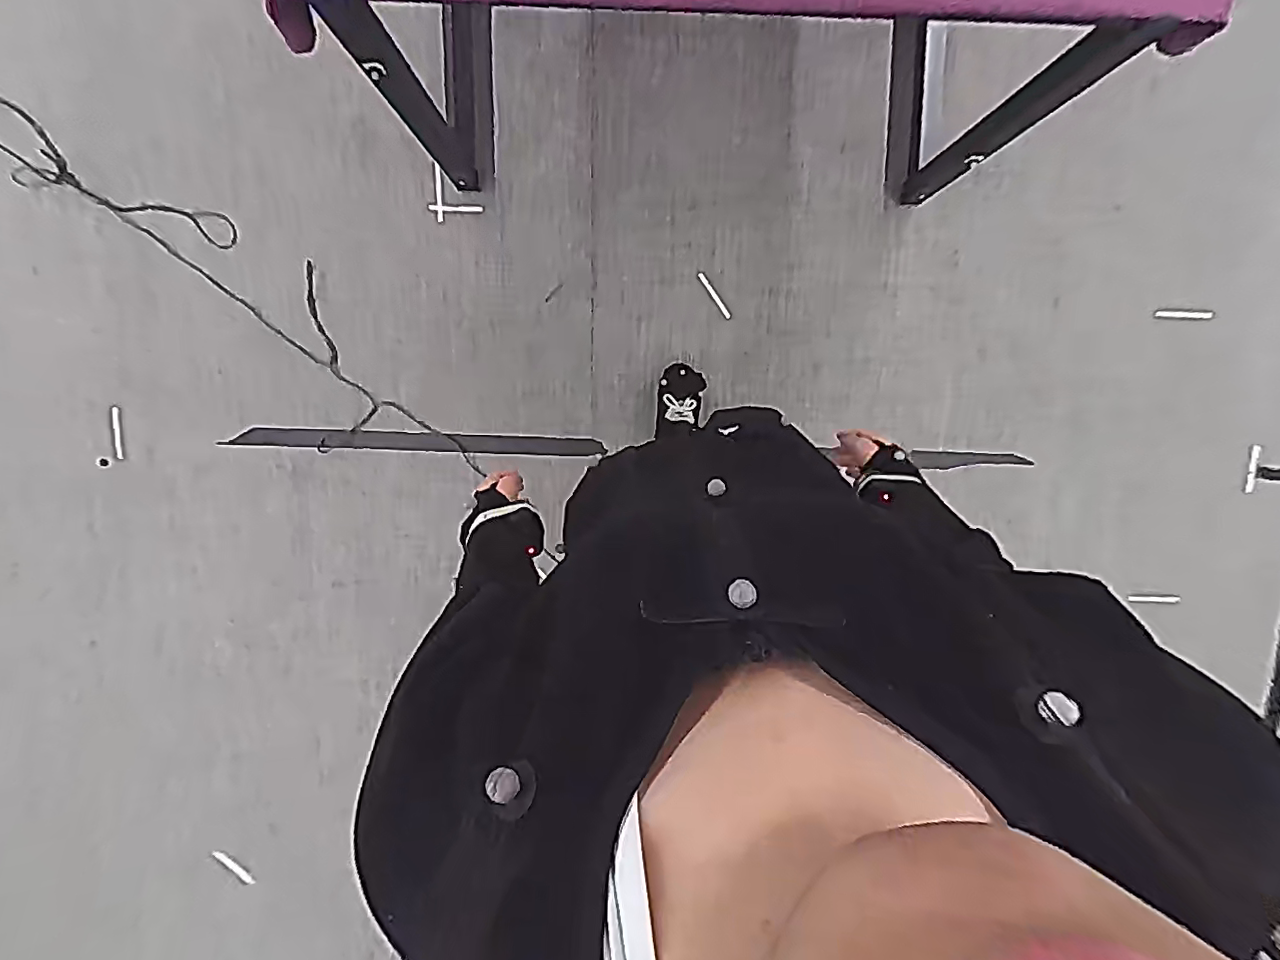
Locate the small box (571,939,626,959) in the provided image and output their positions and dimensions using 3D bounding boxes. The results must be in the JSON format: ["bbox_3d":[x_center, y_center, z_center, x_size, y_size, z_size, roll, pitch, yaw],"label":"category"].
[{"bbox_3d":[-0.127,1.542,1.643,0.168,0.176,0.179,-1,100,0],"label":"small box"}]
